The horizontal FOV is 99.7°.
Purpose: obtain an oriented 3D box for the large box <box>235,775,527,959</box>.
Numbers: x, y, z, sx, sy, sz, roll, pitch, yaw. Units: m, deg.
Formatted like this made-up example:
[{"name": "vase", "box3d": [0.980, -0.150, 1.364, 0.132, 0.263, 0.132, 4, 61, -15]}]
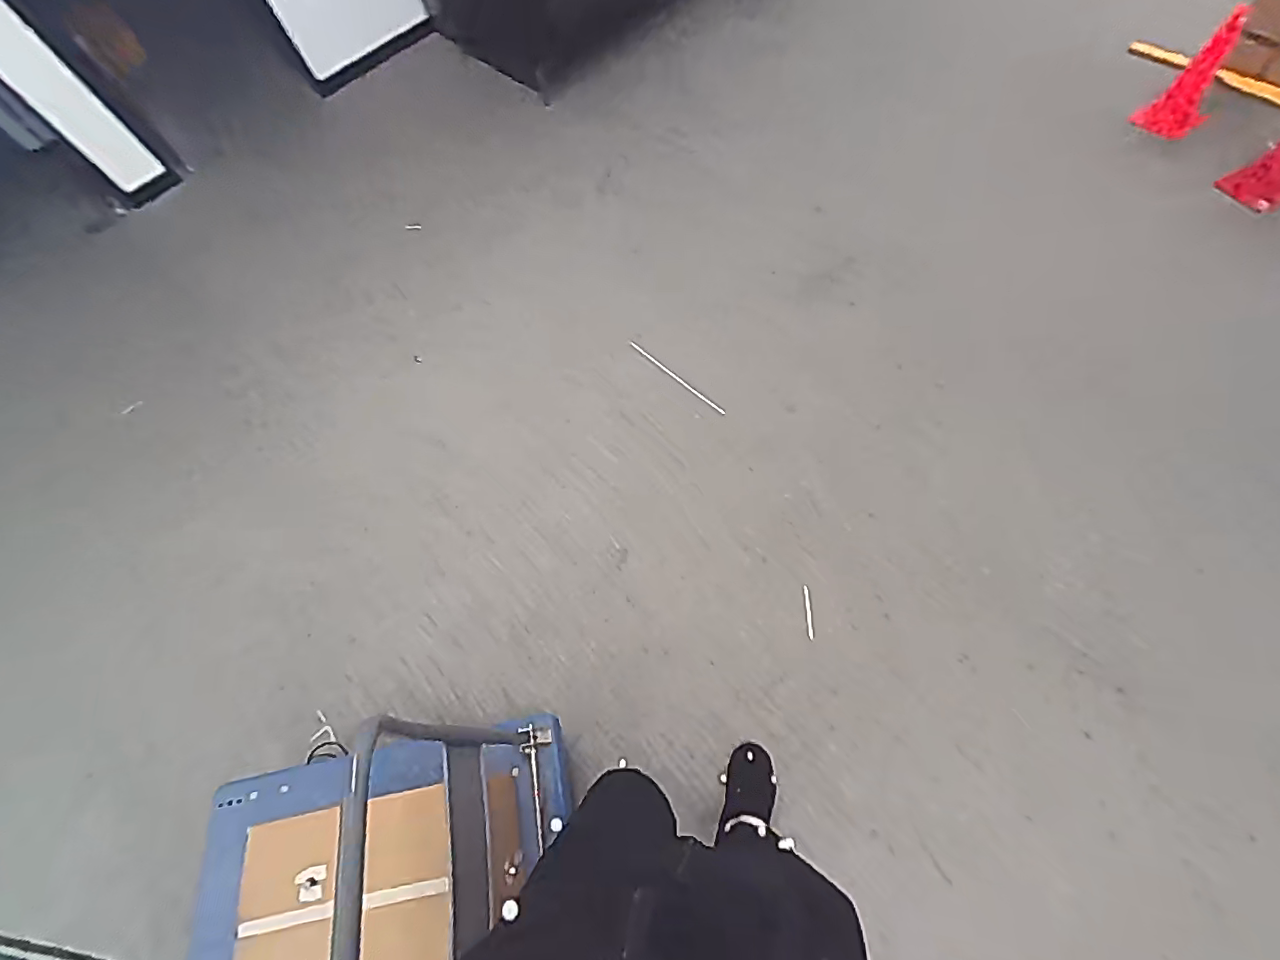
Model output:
[{"name": "large box", "box3d": [-0.474, 0.796, 1.056, 0.408, 0.320, 0.320, -14, 62, 3]}]
